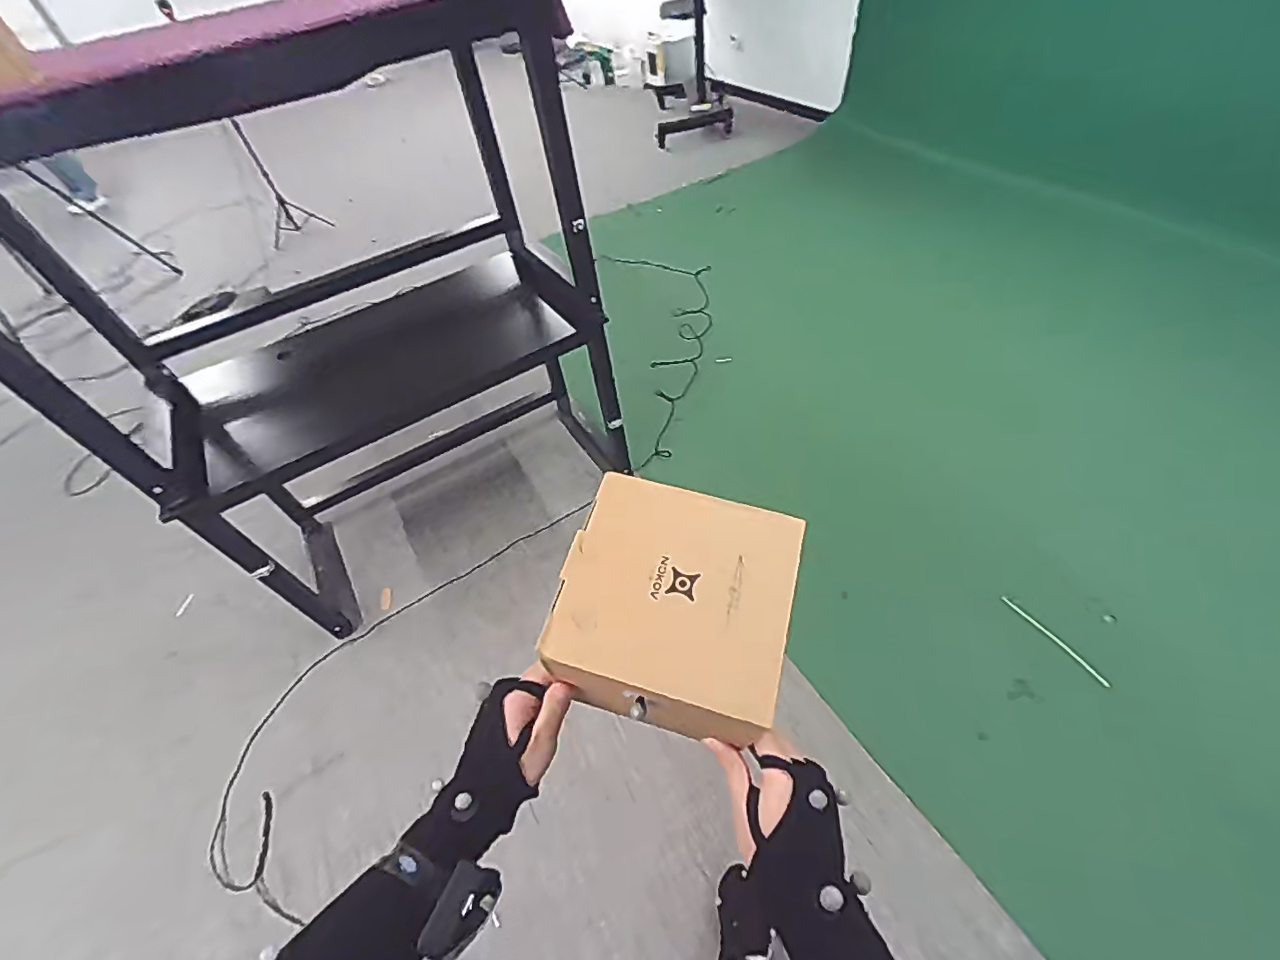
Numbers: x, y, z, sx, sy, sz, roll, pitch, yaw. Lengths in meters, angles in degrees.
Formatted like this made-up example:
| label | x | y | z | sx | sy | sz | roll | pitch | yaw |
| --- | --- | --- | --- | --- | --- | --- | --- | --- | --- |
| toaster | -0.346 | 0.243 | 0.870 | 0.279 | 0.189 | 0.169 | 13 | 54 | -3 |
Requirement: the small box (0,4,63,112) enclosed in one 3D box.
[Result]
| label | x | y | z | sx | sy | sz | roll | pitch | yaw |
| --- | --- | --- | --- | --- | --- | --- | --- | --- | --- |
| small box | -1.035 | -0.647 | 0.800 | 0.179 | 0.176 | 0.168 | -31 | 51 | -17 |

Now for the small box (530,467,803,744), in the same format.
| label | x | y | z | sx | sy | sz | roll | pitch | yaw |
| --- | --- | --- | --- | --- | --- | --- | --- | --- | --- |
| small box | 0.028 | 0.117 | 0.478 | 0.179 | 0.176 | 0.168 | 14 | 59 | 10 |
